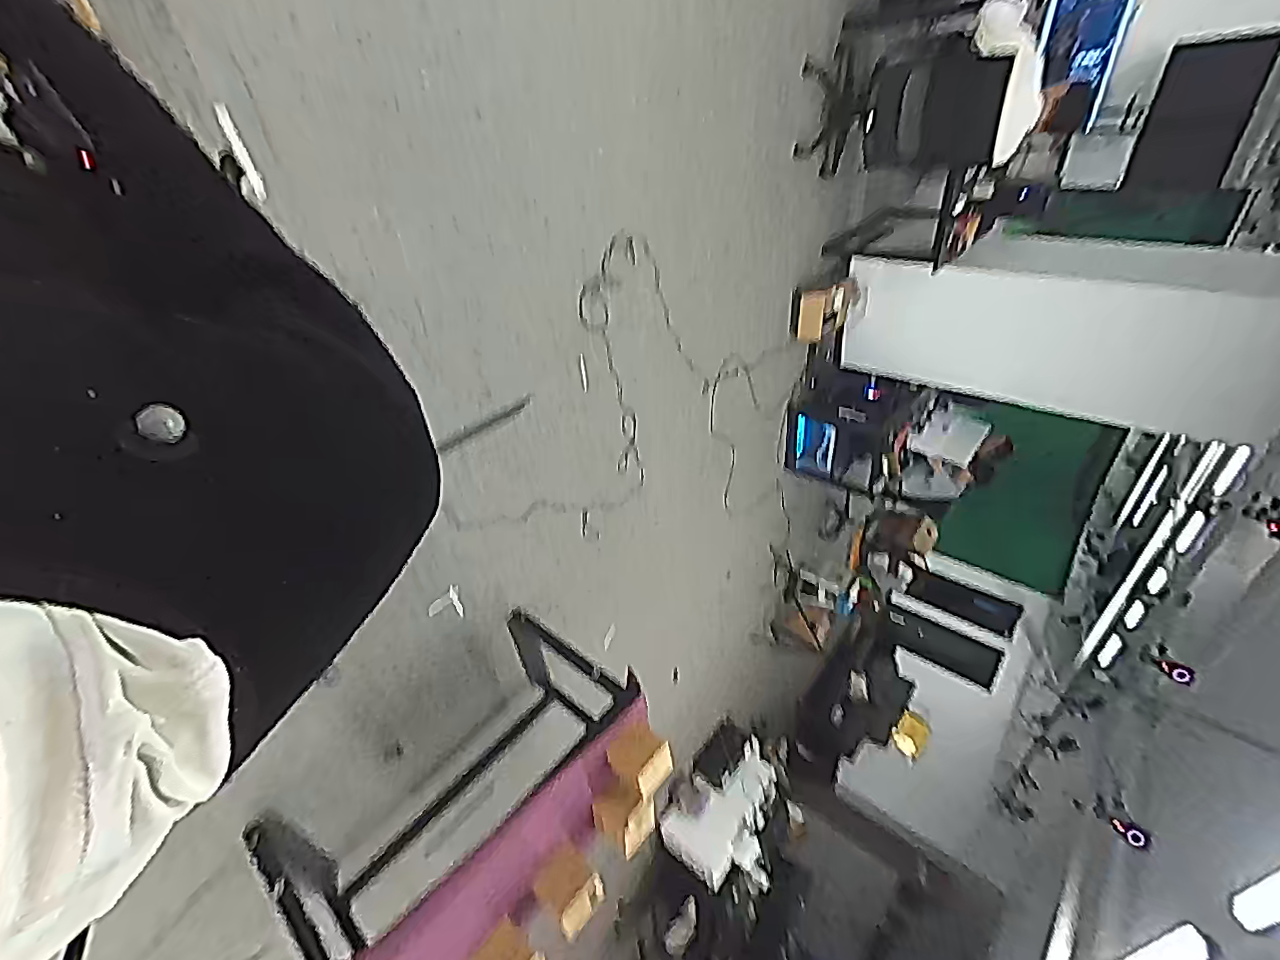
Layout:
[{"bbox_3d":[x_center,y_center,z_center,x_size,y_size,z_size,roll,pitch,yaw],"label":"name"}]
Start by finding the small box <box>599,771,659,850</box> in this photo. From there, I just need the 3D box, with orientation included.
[{"bbox_3d":[-0.045,1.265,2.089,0.168,0.176,0.179,-32,132,-38],"label":"small box"}]

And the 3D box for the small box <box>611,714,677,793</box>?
[{"bbox_3d":[0.015,1.018,2.024,0.168,0.176,0.179,-39,136,-30],"label":"small box"}]

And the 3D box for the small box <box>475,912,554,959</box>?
[{"bbox_3d":[-0.416,1.589,1.785,0.179,0.176,0.168,-38,134,-36],"label":"small box"}]
